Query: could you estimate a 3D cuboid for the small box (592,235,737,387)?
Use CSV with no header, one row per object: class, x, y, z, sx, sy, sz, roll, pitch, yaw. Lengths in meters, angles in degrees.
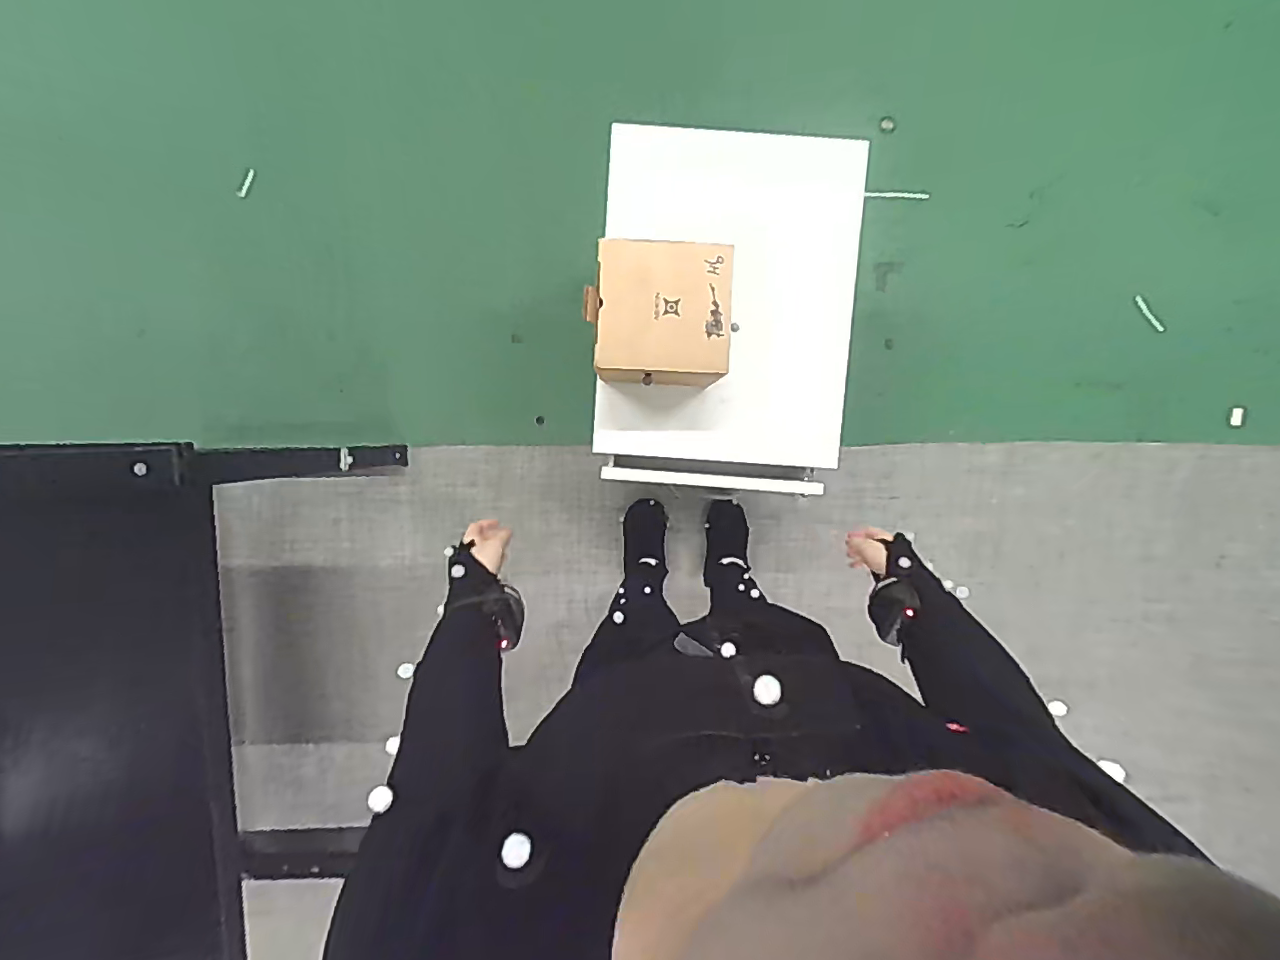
small box,0.030,-0.224,0.757,0.179,0.176,0.168,3,94,-1
